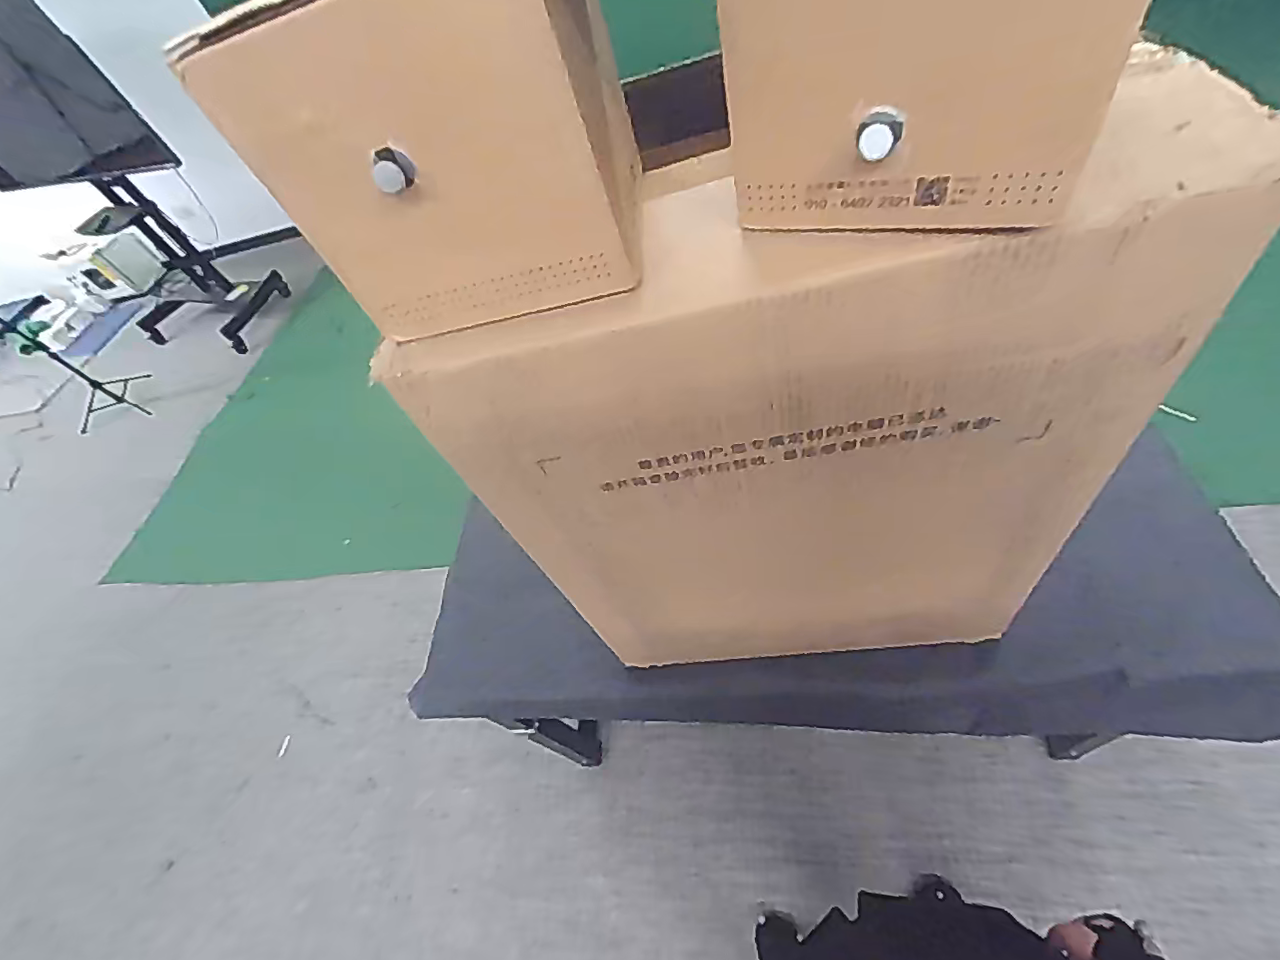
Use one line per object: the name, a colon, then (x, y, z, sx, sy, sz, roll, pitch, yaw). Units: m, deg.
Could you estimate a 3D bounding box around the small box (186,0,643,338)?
small box: (-0.106, -0.213, 0.340, 0.179, 0.176, 0.168, -9, 53, 13)
